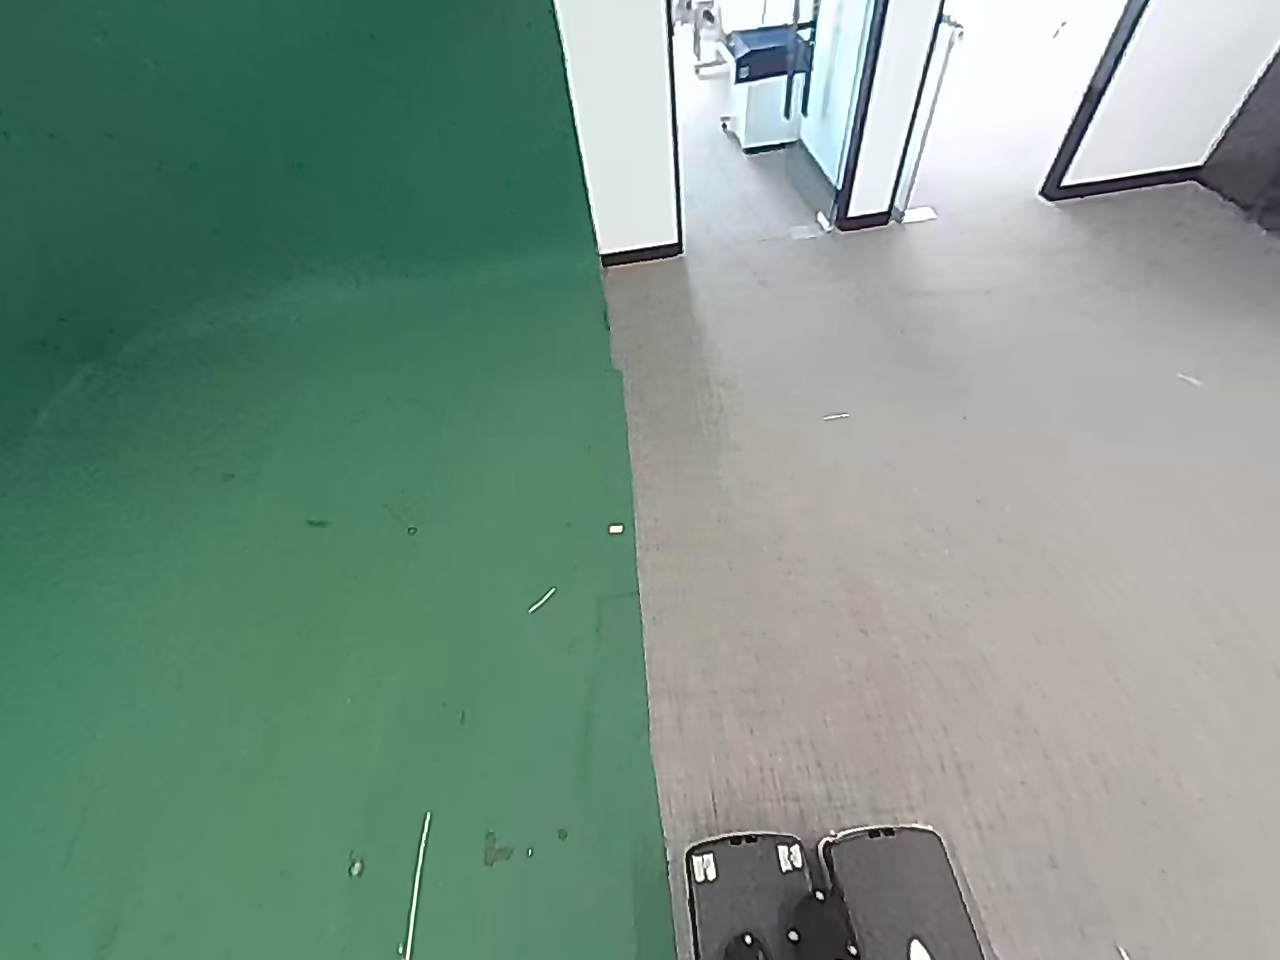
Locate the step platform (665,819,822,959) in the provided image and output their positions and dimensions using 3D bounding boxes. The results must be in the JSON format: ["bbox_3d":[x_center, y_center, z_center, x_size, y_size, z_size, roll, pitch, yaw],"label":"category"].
[{"bbox_3d":[0.220,1.005,0.945,0.286,0.204,0.684,-7,53,1],"label":"step platform"}]
